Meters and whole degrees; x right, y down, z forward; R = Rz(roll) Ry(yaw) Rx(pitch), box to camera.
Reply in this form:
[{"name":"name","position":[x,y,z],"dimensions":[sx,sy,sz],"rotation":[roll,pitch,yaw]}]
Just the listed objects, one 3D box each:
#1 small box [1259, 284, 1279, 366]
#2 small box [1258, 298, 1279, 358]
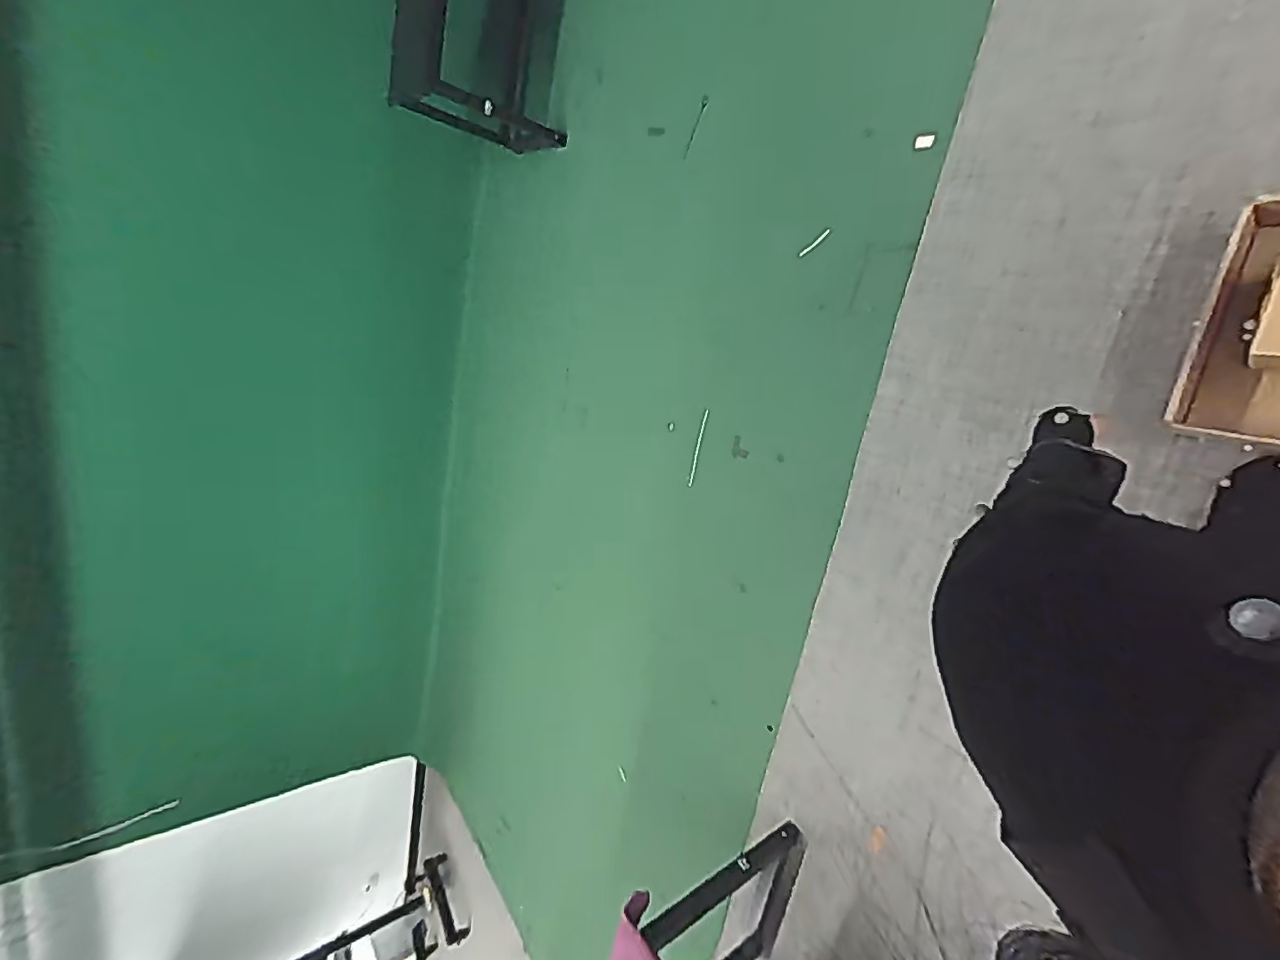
[{"name":"small box","position":[1.136,-0.267,0.856],"dimensions":[0.179,0.176,0.168],"rotation":[18,106,47]},{"name":"small box","position":[1.014,-0.251,0.747],"dimensions":[0.168,0.176,0.179],"rotation":[24,111,47]}]
